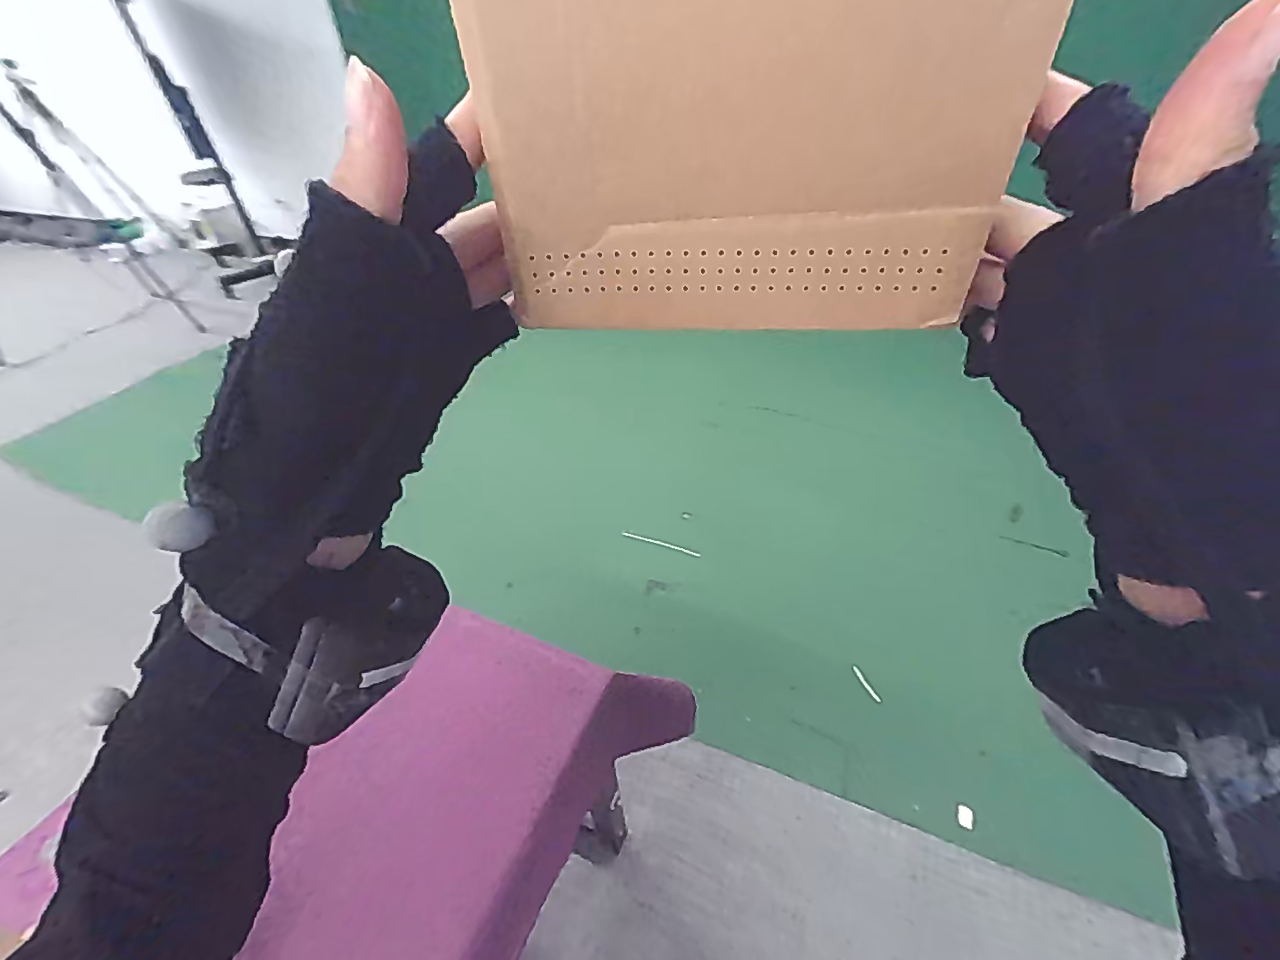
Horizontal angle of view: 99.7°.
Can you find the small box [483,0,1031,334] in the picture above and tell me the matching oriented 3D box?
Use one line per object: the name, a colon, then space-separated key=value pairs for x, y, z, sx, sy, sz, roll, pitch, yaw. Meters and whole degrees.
small box: x=0.040 y=-0.174 z=0.231 sx=0.179 sy=0.176 sz=0.168 roll=2 pitch=42 yaw=6
